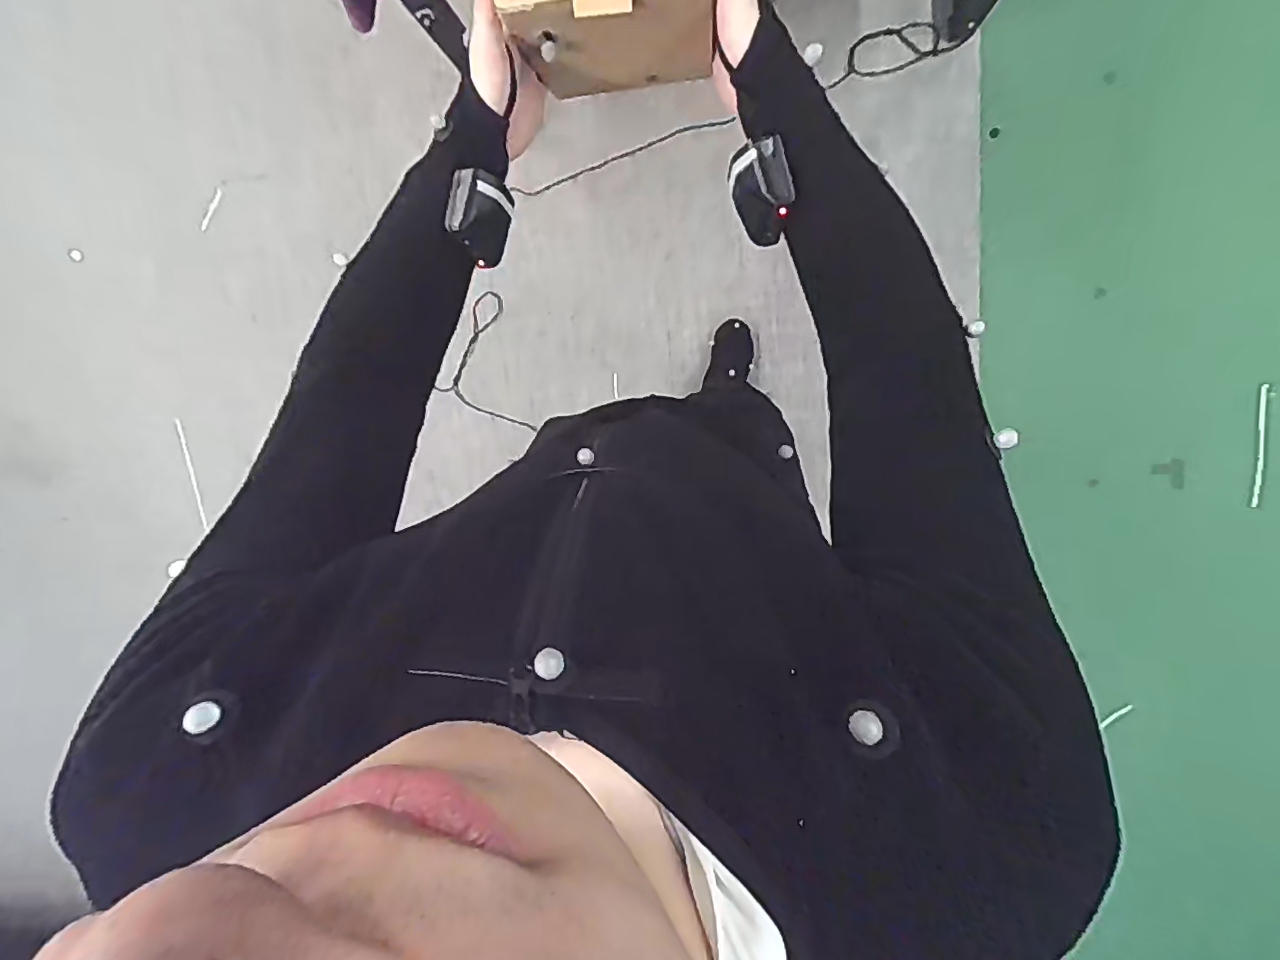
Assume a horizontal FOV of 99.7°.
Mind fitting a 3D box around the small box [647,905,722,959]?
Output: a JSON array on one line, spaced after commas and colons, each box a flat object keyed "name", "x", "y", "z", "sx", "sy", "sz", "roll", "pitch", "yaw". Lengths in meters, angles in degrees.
[{"name": "small box", "x": 0.112, "y": 1.189, "z": 1.328, "sx": 0.168, "sy": 0.176, "sz": 0.179, "roll": -7, "pitch": 101, "yaw": 9}]
